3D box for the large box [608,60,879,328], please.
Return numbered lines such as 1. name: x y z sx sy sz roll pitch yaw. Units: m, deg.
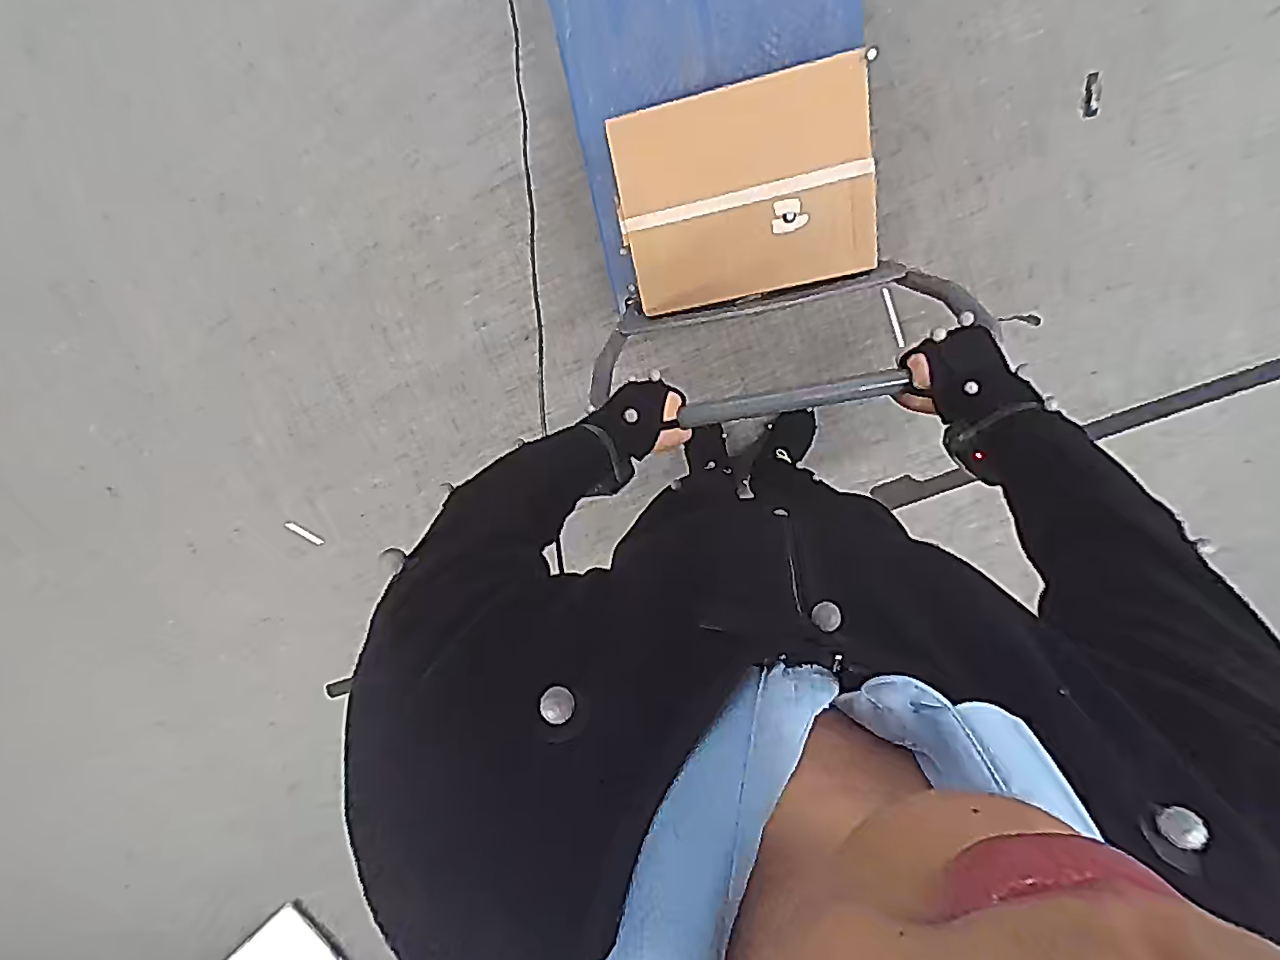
1. large box: 0.185 -0.500 1.016 0.408 0.320 0.320 -10 112 9
